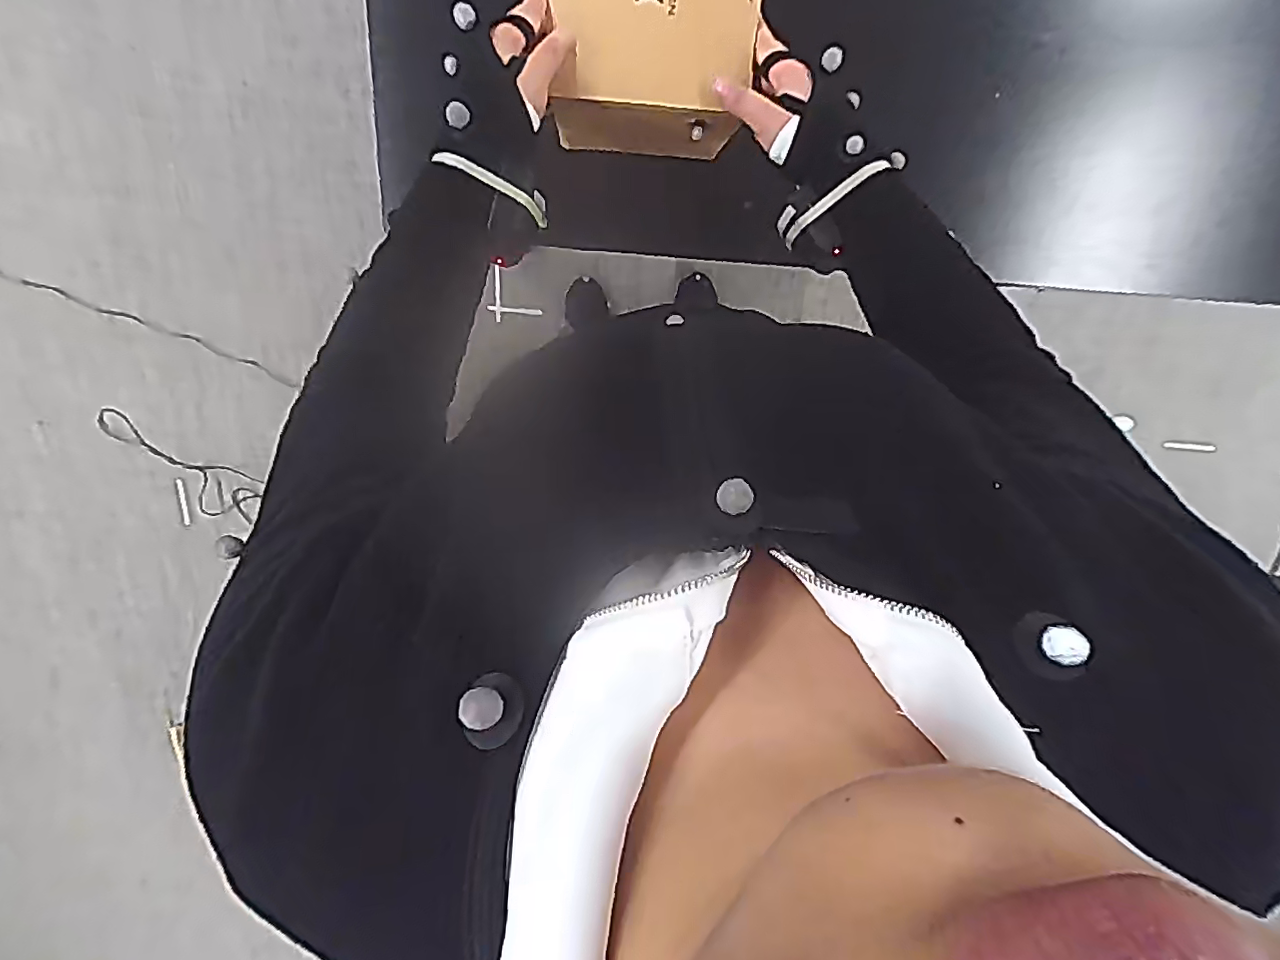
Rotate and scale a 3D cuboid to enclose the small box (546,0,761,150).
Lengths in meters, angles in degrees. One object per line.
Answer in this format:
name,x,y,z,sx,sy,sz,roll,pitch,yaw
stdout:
small box,0.007,-0.424,0.506,0.179,0.176,0.168,1,110,-6
